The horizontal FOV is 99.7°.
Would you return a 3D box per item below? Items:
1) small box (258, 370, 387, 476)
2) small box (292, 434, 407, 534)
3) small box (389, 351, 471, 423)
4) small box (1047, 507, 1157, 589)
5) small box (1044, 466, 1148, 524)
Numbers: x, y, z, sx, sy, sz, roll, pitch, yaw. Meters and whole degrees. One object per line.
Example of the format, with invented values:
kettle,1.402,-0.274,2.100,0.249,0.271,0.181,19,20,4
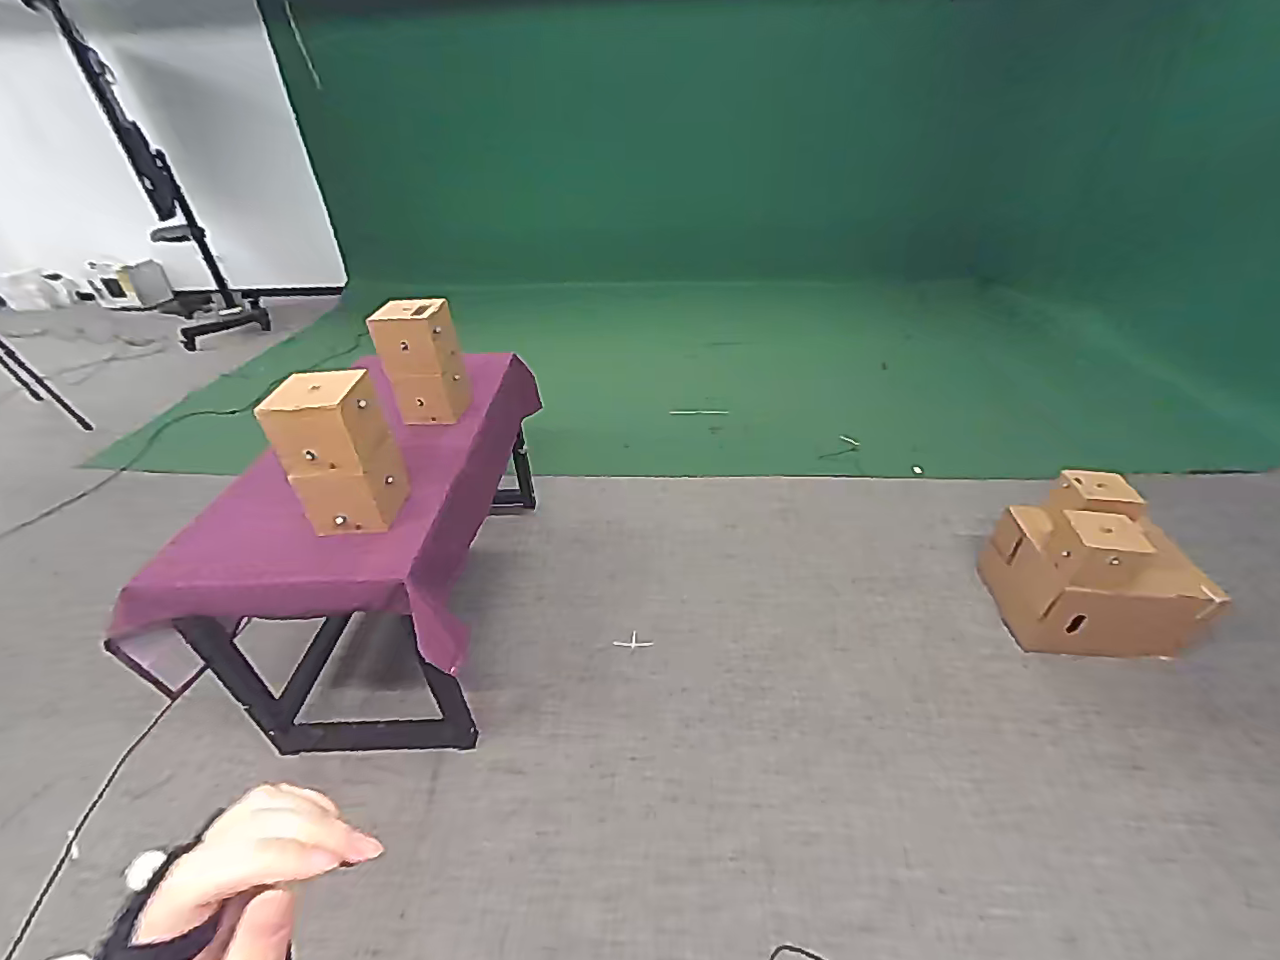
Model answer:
small box,-0.678,-0.126,1.185,0.168,0.176,0.179,-4,36,-1
small box,-0.671,0.009,1.276,0.168,0.176,0.179,-3,36,0
small box,-0.645,-0.288,1.686,0.168,0.176,0.179,1,36,4
small box,1.348,0.202,1.600,0.179,0.176,0.168,6,38,9
small box,1.480,0.077,1.770,0.179,0.176,0.168,6,35,8
